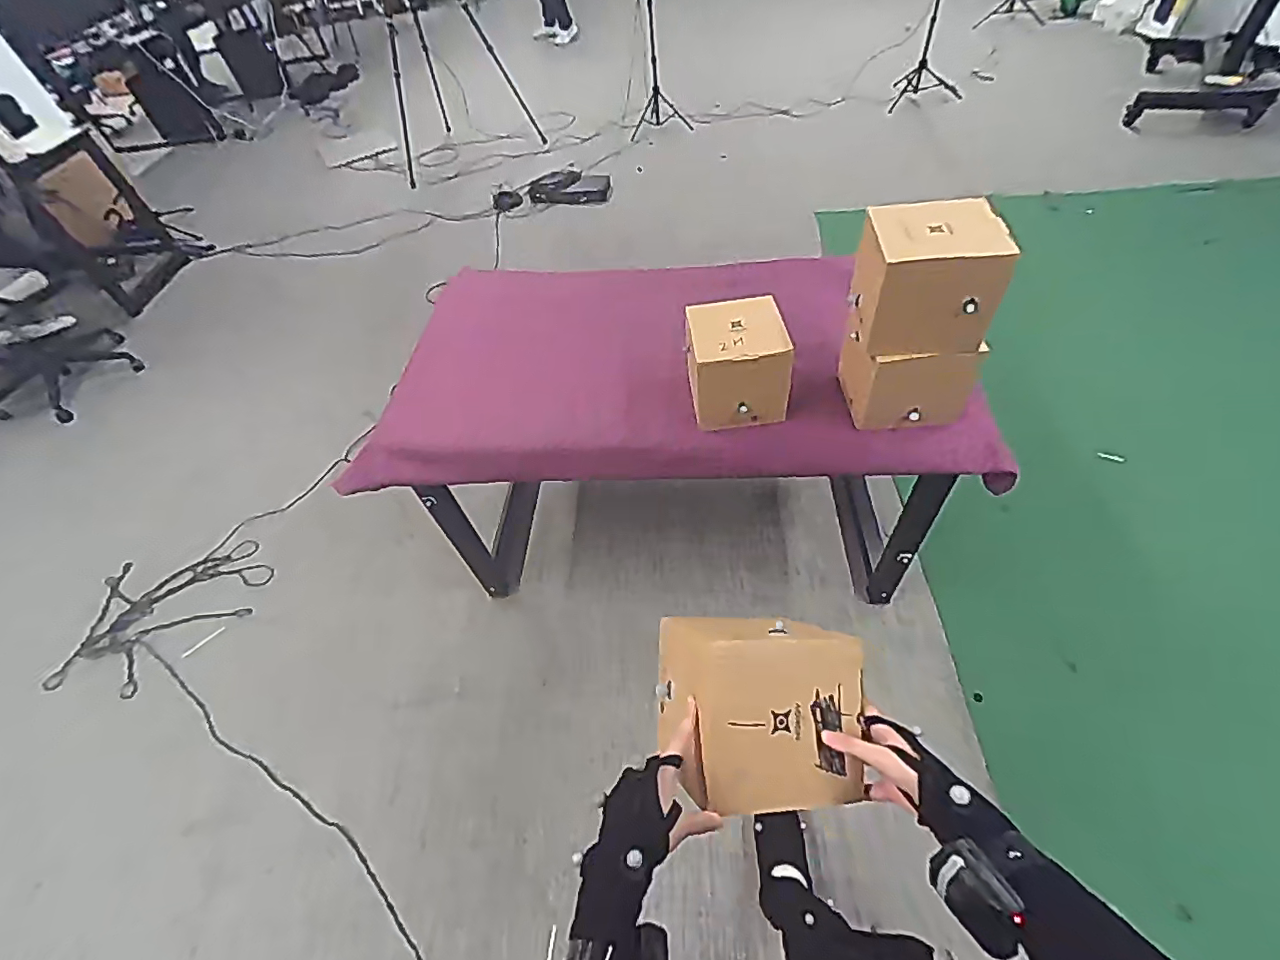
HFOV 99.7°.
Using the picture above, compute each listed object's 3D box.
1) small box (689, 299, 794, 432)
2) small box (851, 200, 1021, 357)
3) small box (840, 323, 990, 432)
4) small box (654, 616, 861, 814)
[{"bbox_3d":[0.183,-0.214,1.022,0.168,0.176,0.179,-7,50,4],"label":"small box"},{"bbox_3d":[0.446,-0.310,0.849,0.179,0.176,0.168,0,52,9],"label":"small box"},{"bbox_3d":[0.477,-0.203,0.969,0.179,0.176,0.168,-5,51,5],"label":"small box"},{"bbox_3d":[0.125,0.249,0.616,0.179,0.176,0.168,4,82,-13],"label":"small box"}]
